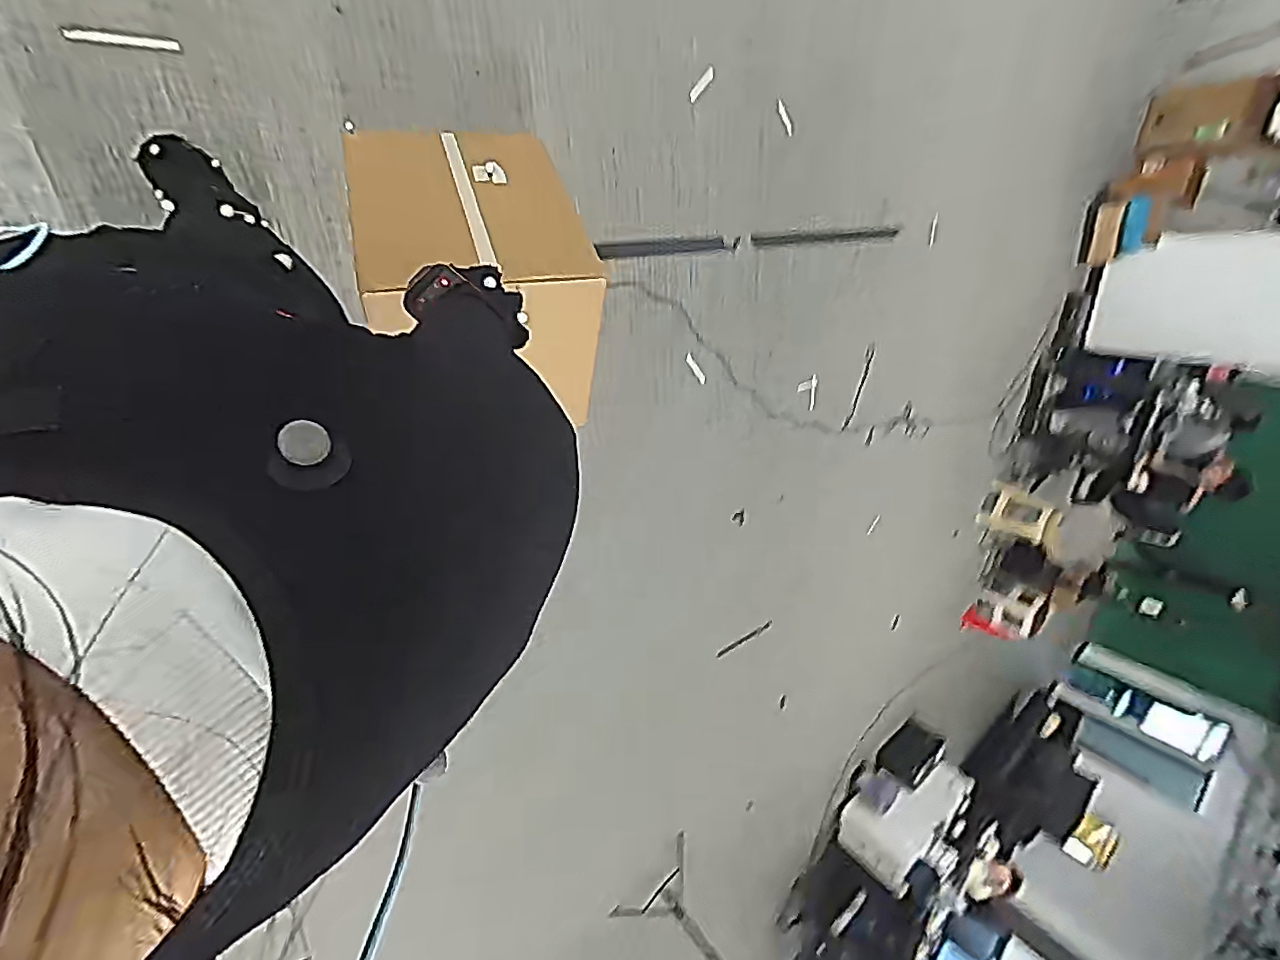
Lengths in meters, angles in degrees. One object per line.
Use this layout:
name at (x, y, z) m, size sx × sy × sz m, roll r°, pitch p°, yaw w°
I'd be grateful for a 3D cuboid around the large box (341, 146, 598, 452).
large box at (-0.293, -0.311, 0.930) m, size 0.320 × 0.408 × 0.320 m, roll -10°, pitch 147°, yaw -21°
